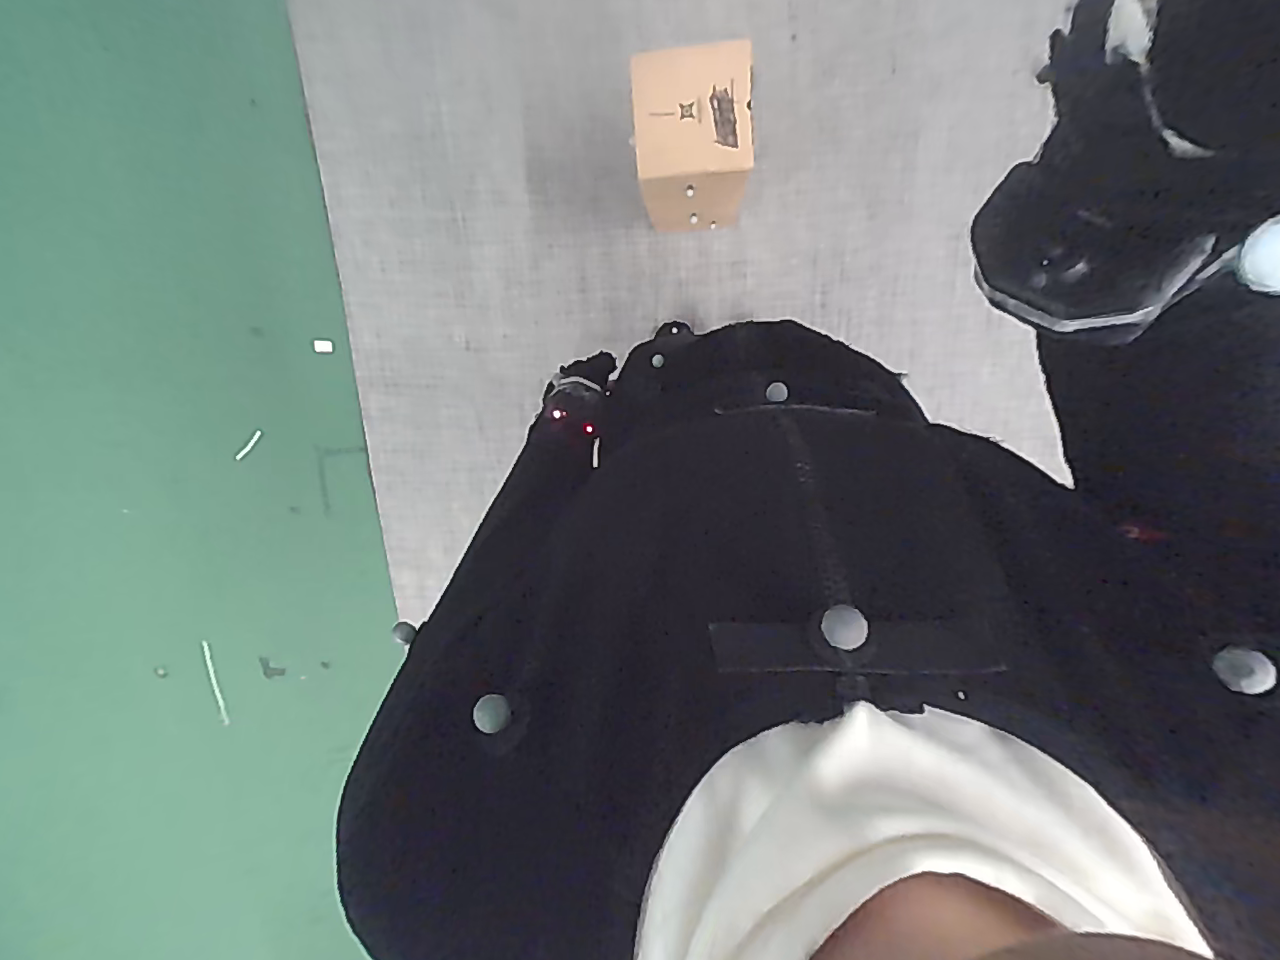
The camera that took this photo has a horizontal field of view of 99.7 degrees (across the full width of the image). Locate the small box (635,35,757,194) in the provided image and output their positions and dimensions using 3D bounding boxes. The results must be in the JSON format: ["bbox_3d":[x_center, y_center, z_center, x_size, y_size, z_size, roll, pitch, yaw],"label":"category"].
[{"bbox_3d":[0.084,-0.569,0.863,0.179,0.176,0.168,1,104,4],"label":"small box"}]

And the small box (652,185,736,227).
[{"bbox_3d":[0.115,-0.661,1.179,0.179,0.176,0.168,-2,105,7],"label":"small box"}]
